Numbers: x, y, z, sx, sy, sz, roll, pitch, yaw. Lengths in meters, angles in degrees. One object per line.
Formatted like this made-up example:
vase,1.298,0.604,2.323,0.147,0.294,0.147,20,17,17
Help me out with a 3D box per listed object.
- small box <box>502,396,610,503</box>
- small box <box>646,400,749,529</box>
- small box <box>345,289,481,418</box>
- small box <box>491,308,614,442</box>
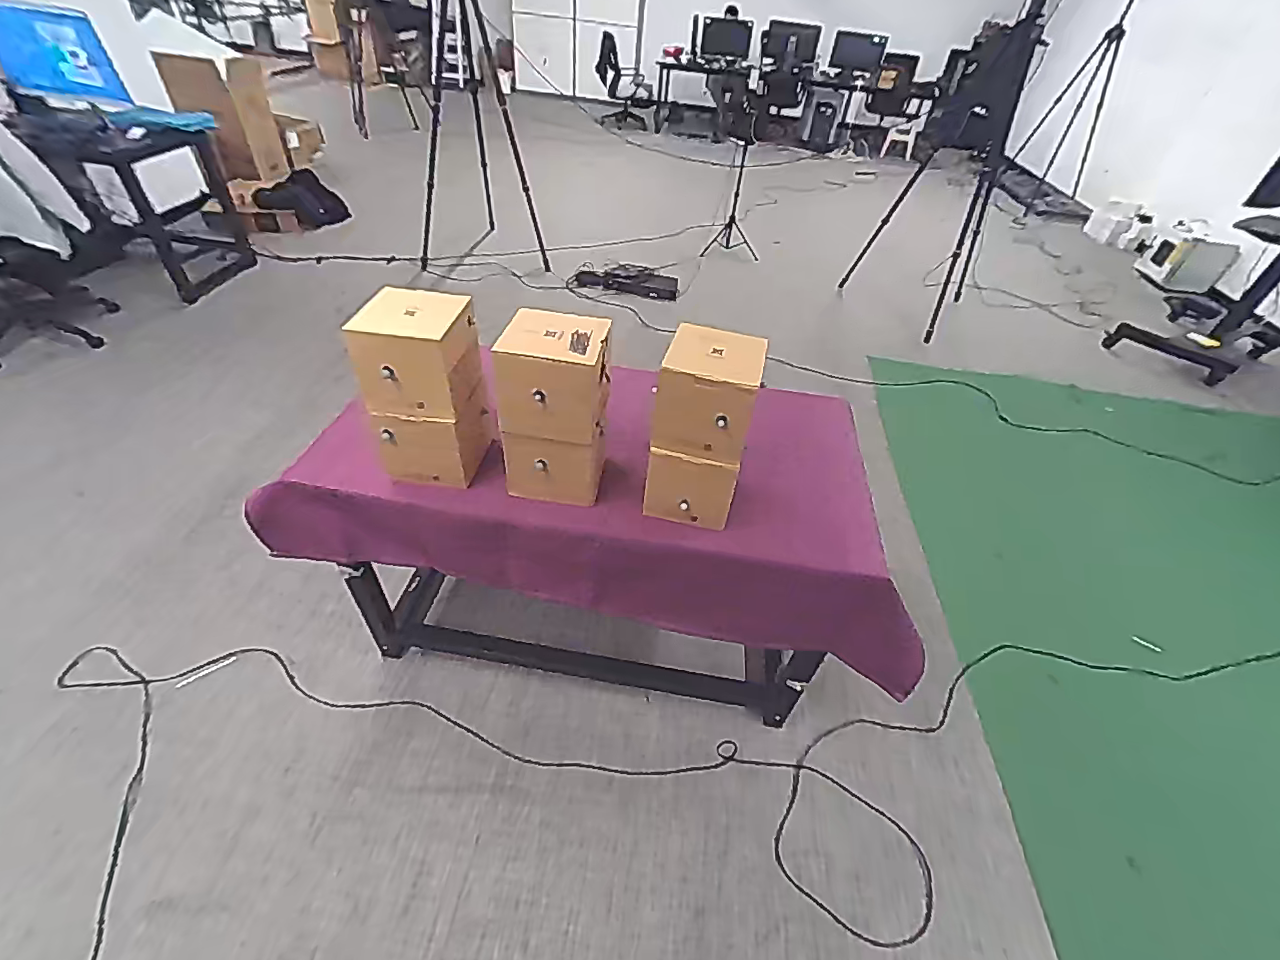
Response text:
small box,-0.162,-0.071,1.096,0.179,0.176,0.168,8,43,3
small box,0.112,-0.032,1.080,0.168,0.176,0.179,12,43,7
small box,-0.405,-0.234,1.004,0.168,0.176,0.179,6,41,0
small box,-0.150,-0.188,0.980,0.179,0.176,0.168,9,42,4
